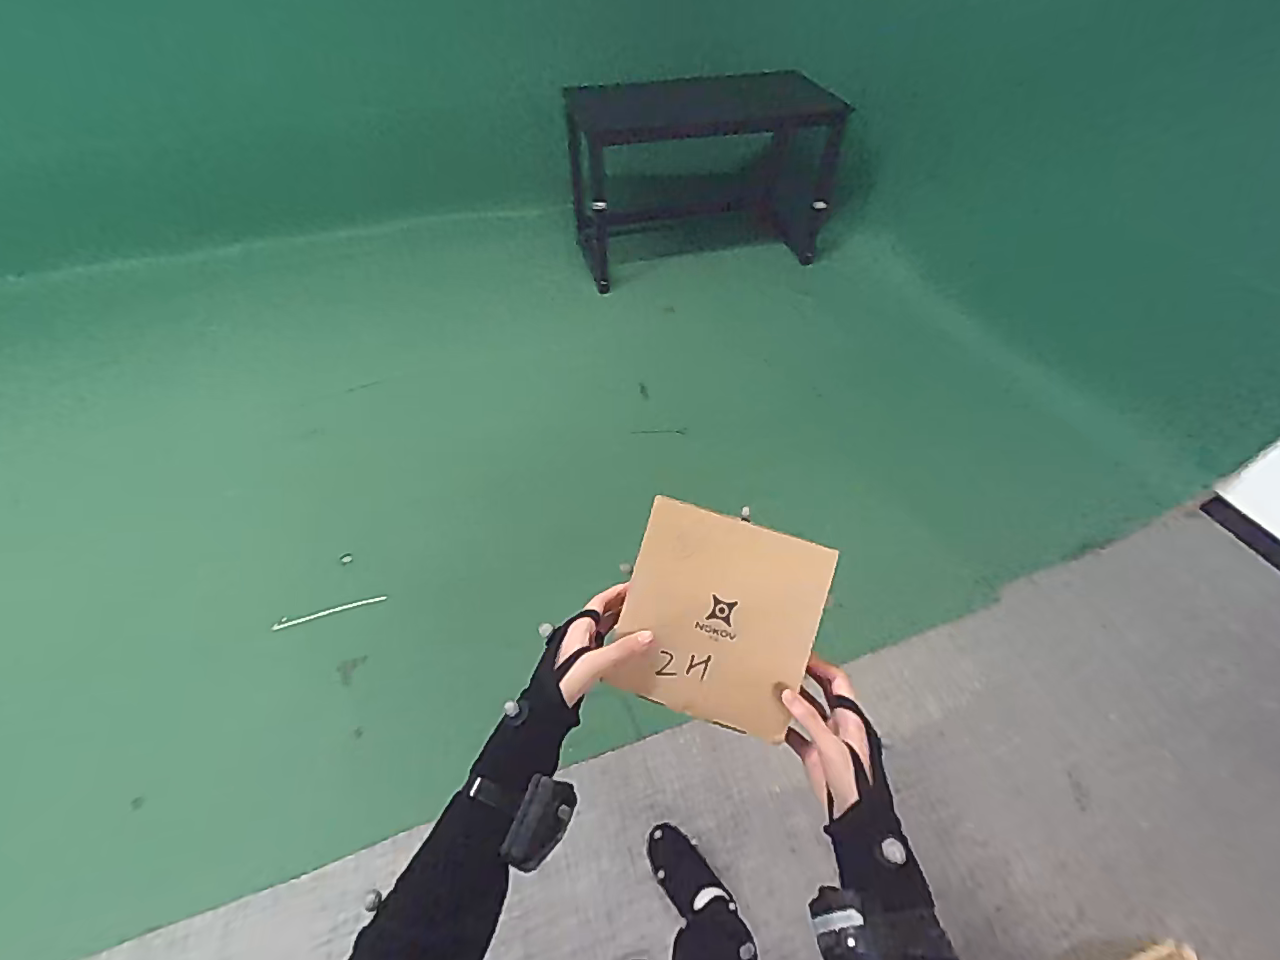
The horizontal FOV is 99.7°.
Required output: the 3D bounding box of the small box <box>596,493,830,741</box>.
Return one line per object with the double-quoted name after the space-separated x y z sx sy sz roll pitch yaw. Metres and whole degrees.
0.068 0.121 0.548 0.168 0.176 0.179 17 89 6 "small box"
